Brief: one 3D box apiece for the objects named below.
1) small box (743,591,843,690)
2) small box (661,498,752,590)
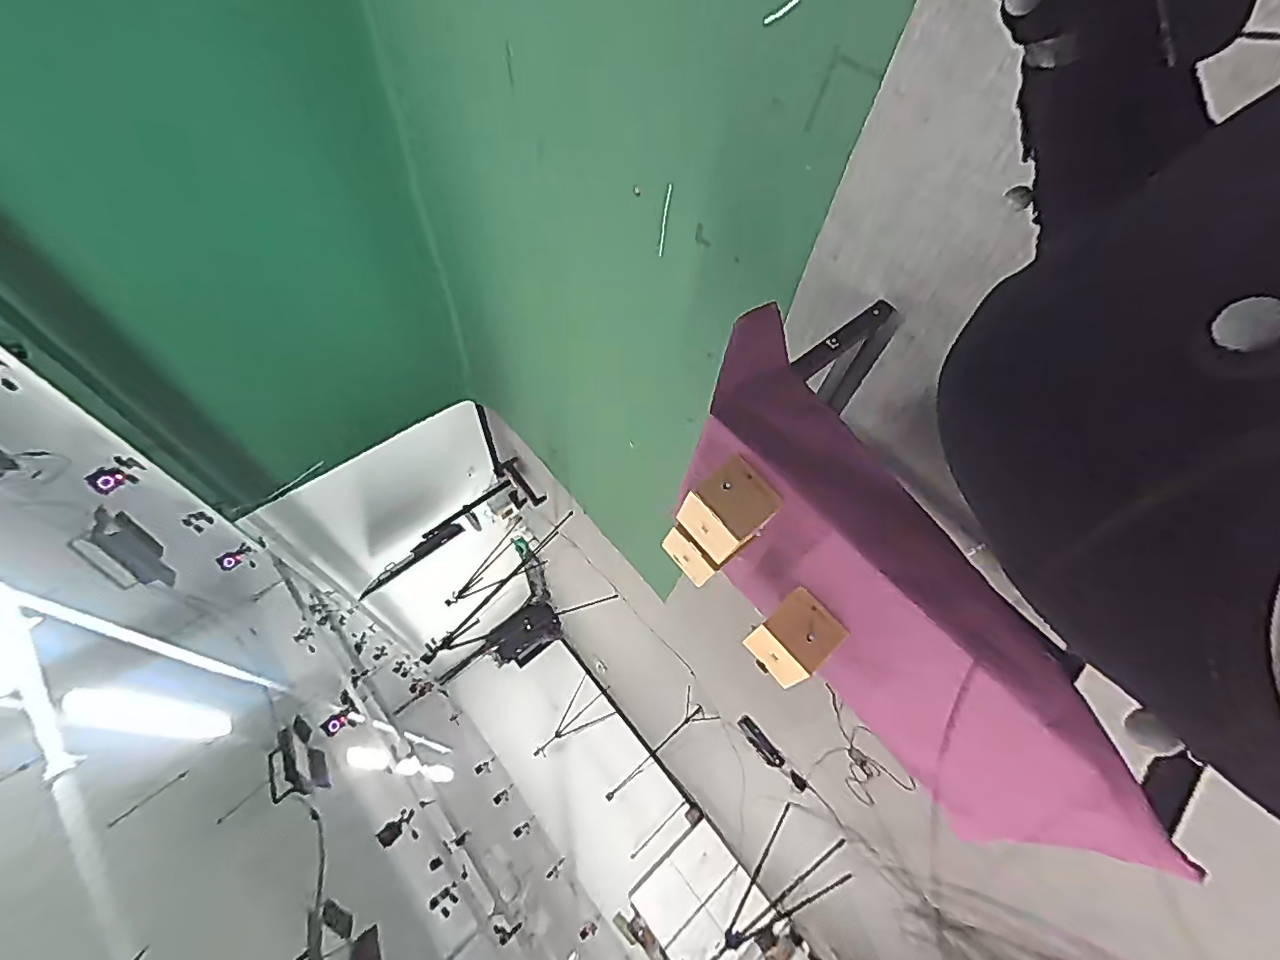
[{"bbox_3d":[0.407,0.424,1.435,0.168,0.176,0.179,46,156,19],"label":"small box"},{"bbox_3d":[0.188,0.177,1.520,0.168,0.176,0.179,50,156,13],"label":"small box"}]
